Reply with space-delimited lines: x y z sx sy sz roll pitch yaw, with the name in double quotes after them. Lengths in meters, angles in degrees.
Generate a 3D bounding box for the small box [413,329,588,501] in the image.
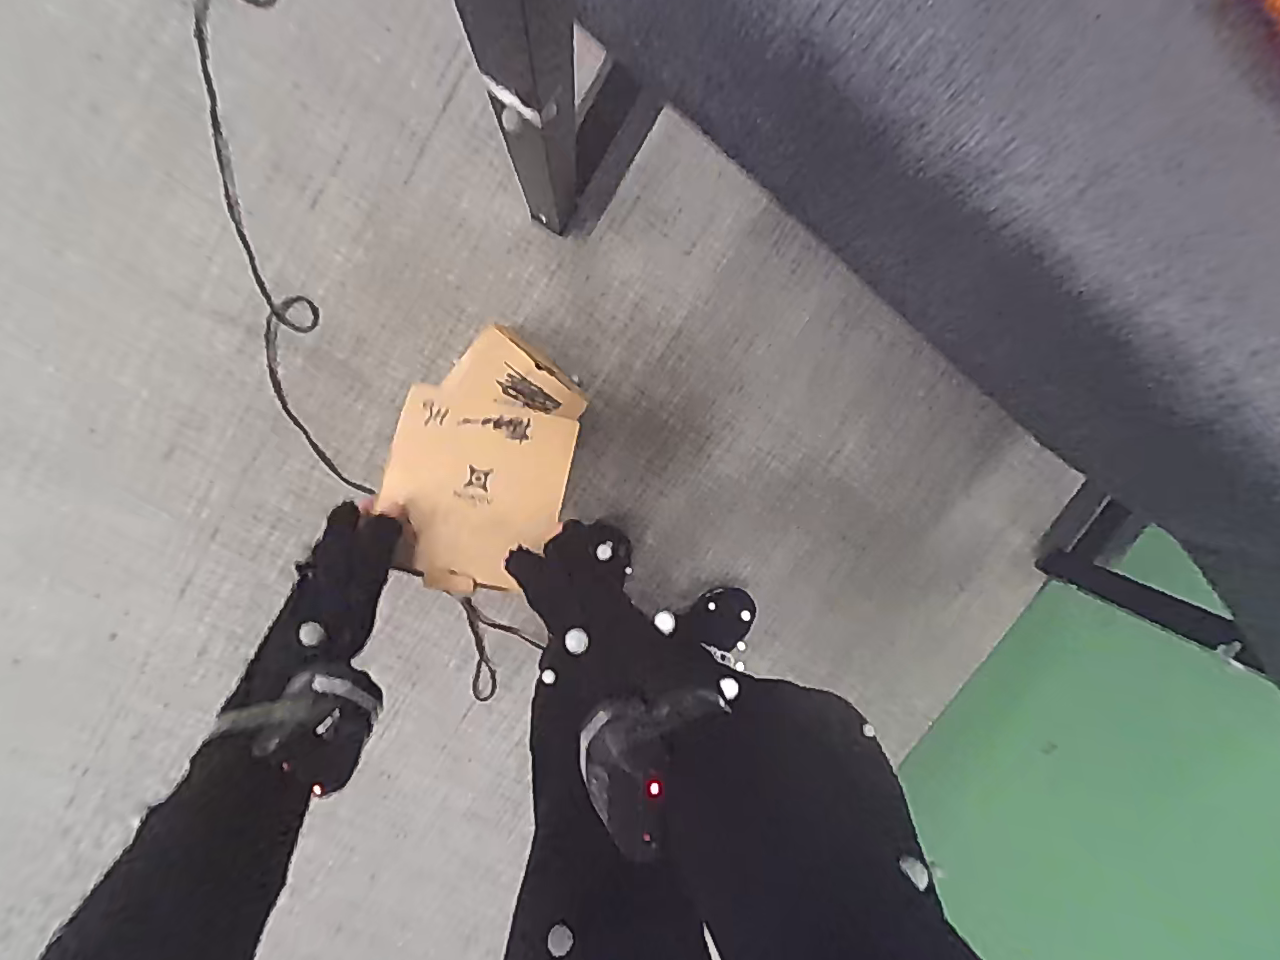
-0.197 -0.102 0.802 0.168 0.176 0.179 40 97 -13 "small box"
